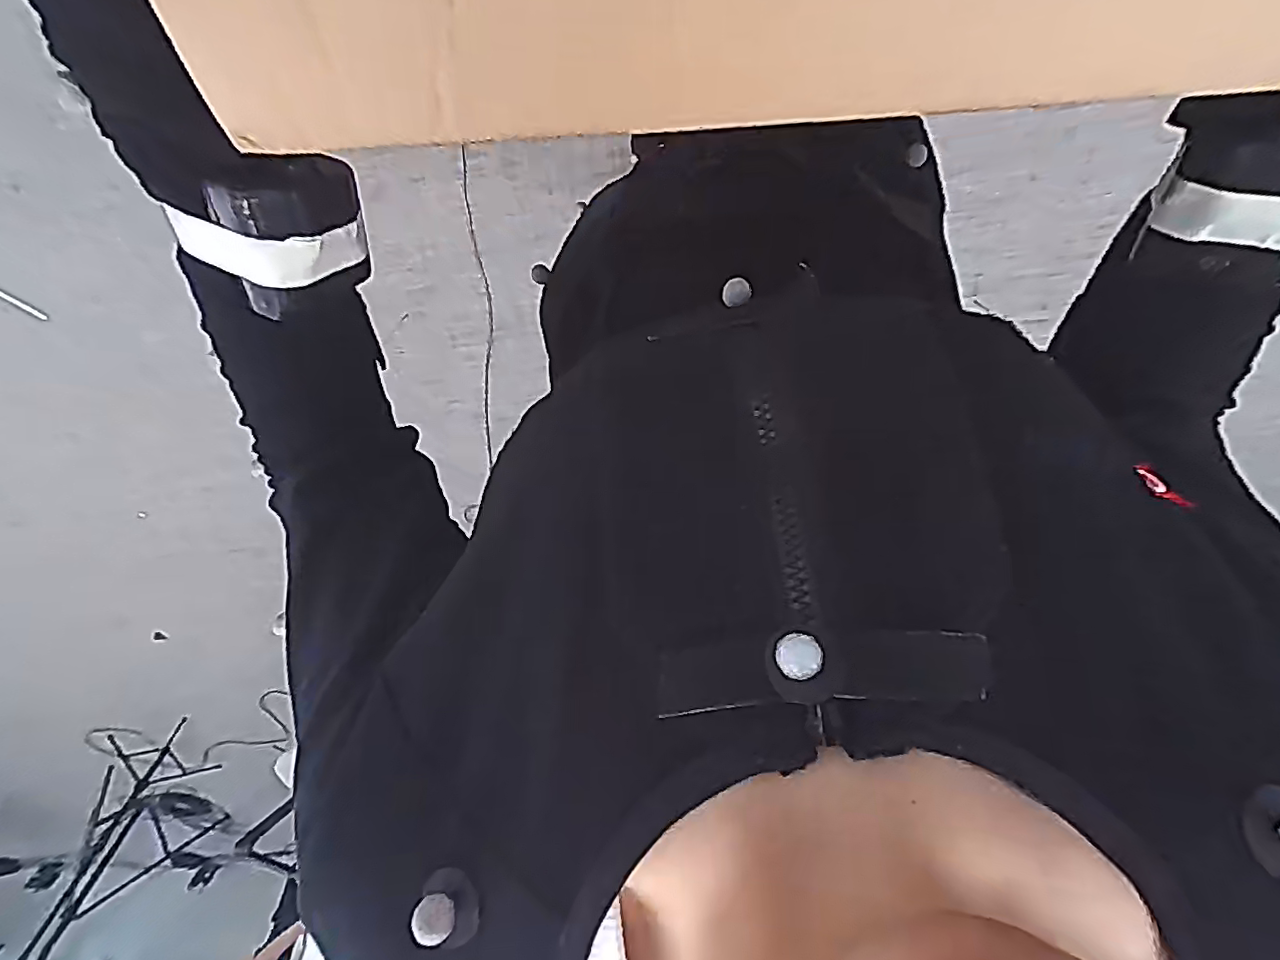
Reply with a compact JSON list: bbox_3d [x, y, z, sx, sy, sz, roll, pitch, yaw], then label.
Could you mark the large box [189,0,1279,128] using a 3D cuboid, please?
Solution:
[{"bbox_3d":[0.038,-0.360,0.183,0.408,0.320,0.320,-3,139,0],"label":"large box"}]
